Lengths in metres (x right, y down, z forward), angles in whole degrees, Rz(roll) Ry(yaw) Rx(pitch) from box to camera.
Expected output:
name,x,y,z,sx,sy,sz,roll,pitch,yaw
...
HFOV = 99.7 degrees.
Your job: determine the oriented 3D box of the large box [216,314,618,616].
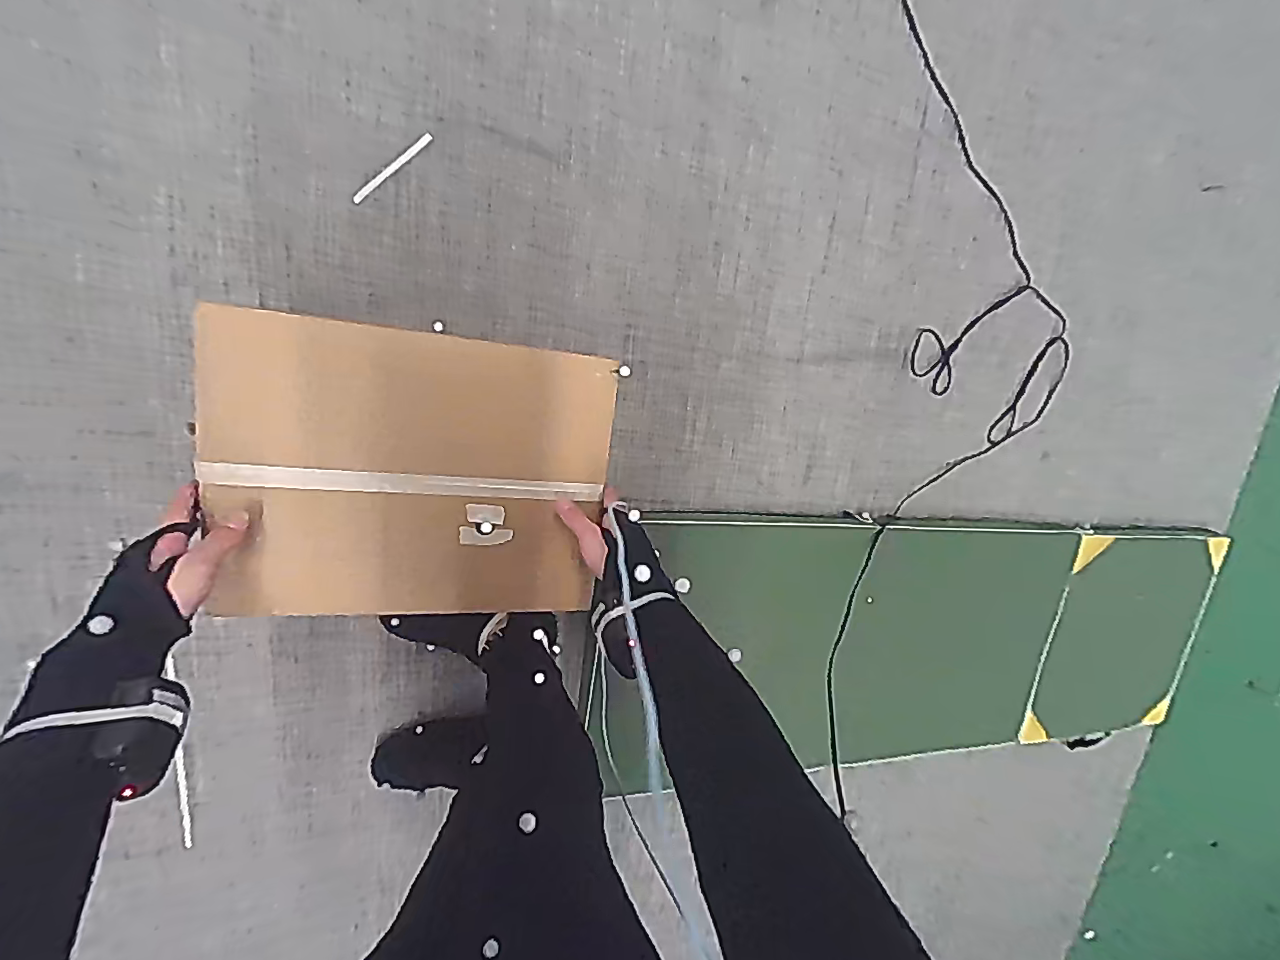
name,x,y,z,sx,sy,sz,roll,pitch,yaw
large box,-0.278,-0.030,0.736,0.408,0.320,0.320,4,102,-20
